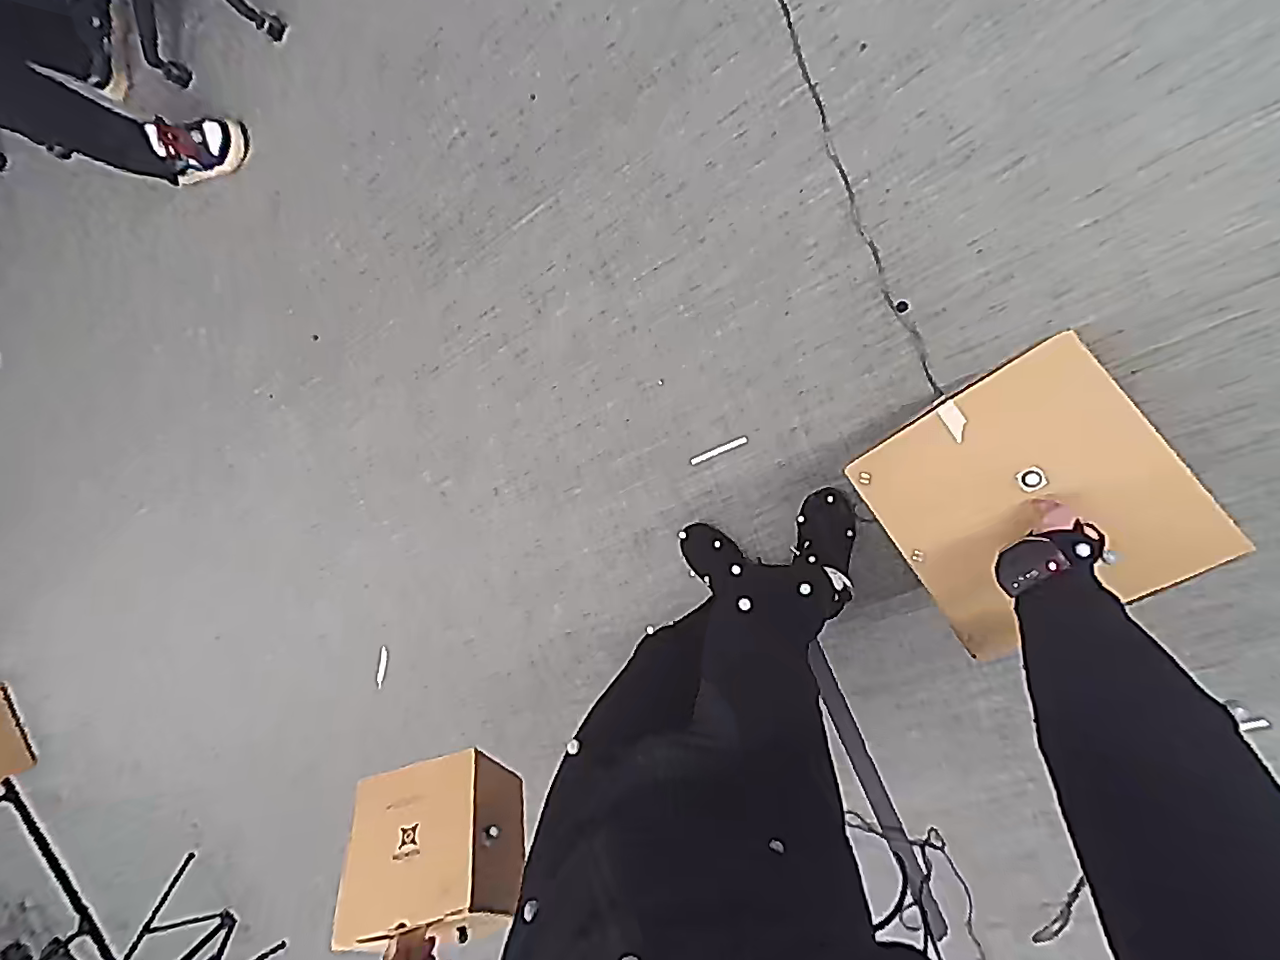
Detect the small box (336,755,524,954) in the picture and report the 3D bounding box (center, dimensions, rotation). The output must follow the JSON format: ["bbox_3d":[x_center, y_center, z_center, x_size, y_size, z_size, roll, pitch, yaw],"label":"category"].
[{"bbox_3d":[-0.260,0.495,0.713,0.168,0.179,0.176,-16,136,1],"label":"small box"}]
